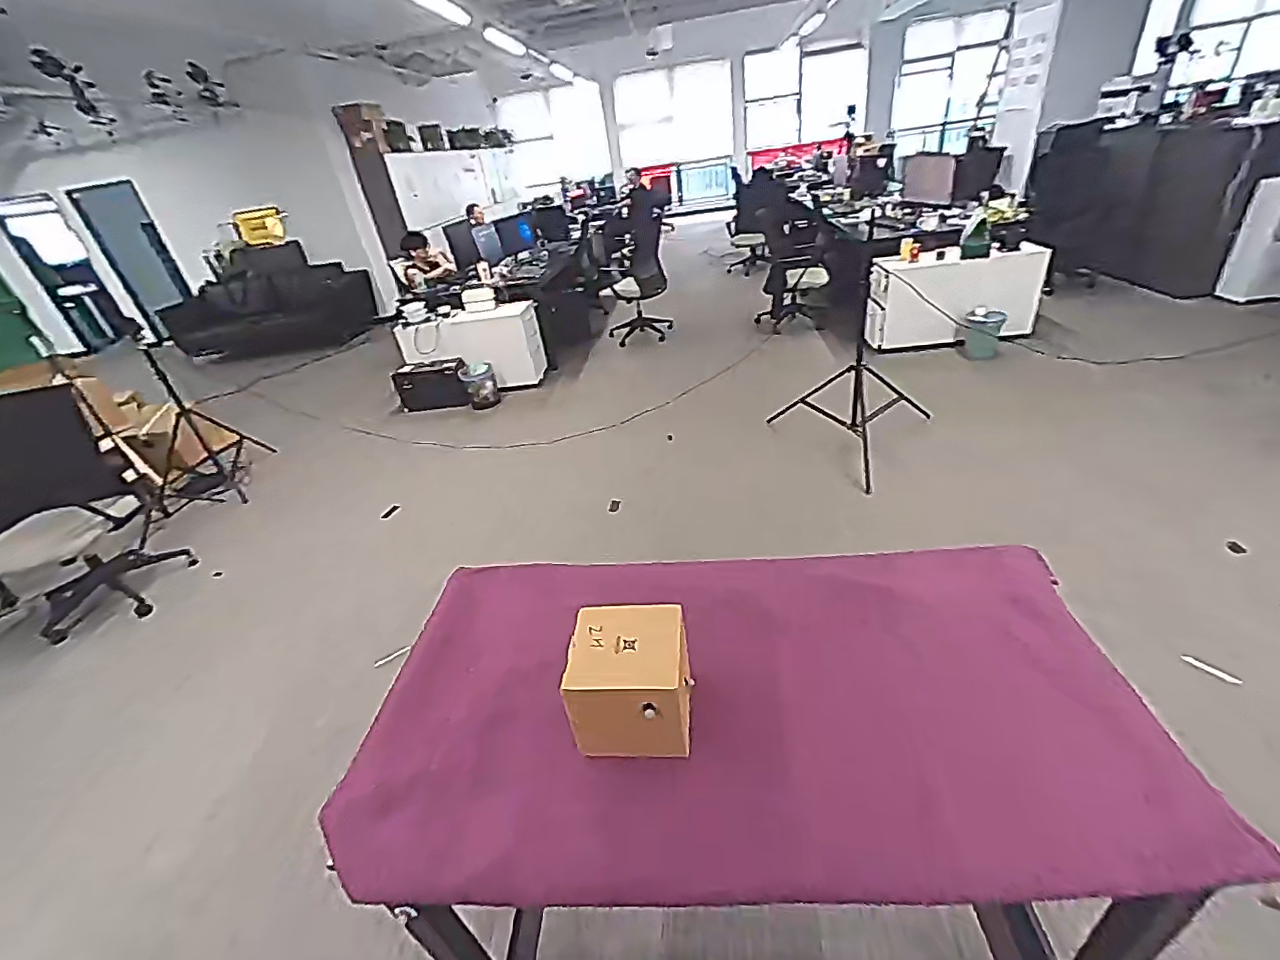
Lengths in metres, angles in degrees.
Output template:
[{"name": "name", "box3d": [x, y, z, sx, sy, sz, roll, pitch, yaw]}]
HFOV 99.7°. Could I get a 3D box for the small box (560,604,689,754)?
[{"name": "small box", "box3d": [-0.013, 0.322, 0.878, 0.179, 0.176, 0.168, -4, 31, 9]}]
